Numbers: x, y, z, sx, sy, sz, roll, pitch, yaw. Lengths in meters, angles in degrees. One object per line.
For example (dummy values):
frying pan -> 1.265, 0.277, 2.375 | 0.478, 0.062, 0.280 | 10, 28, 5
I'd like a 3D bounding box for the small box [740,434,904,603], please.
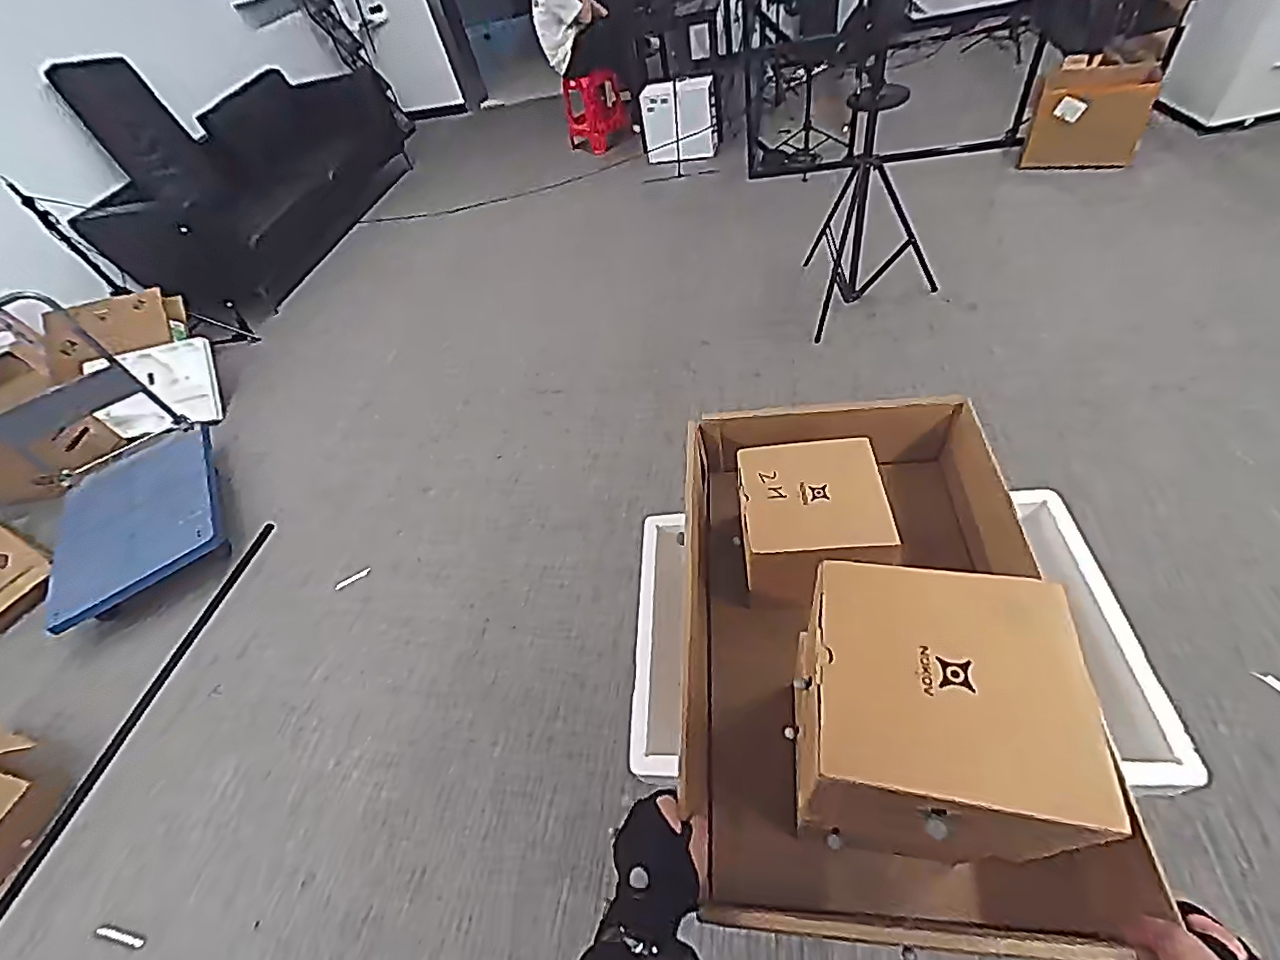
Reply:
small box -> 0.231, 0.058, 0.738 | 0.179, 0.176, 0.168 | -5, 53, 8
